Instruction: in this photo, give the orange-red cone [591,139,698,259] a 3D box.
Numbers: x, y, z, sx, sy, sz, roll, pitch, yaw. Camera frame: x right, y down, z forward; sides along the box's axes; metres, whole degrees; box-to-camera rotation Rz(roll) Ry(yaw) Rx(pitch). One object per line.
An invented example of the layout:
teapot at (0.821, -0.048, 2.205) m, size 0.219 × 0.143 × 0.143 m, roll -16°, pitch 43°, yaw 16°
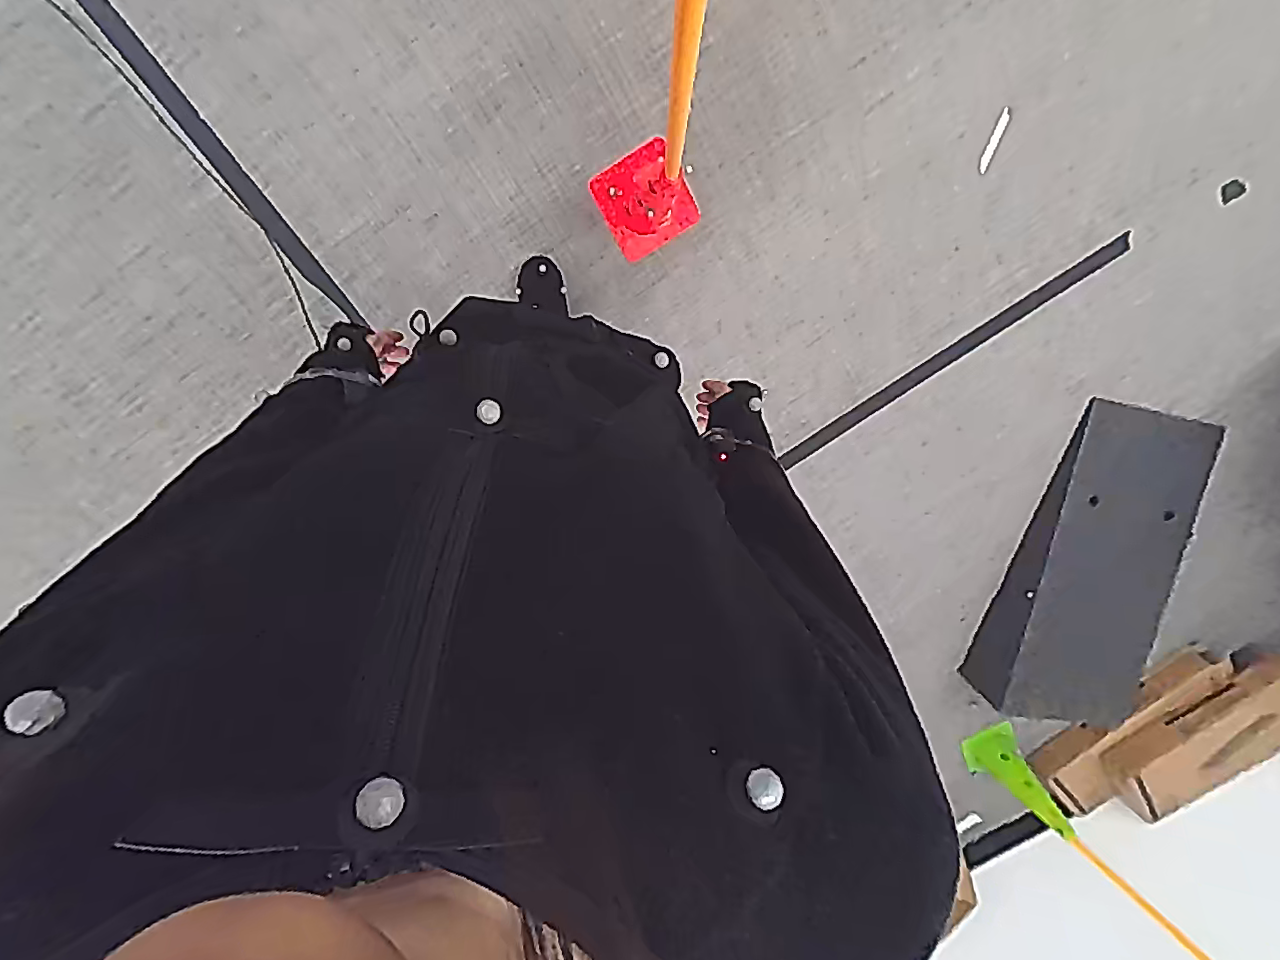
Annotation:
orange-red cone at (0.032, -0.573, 1.066) m, size 0.198 × 0.360 × 0.199 m, roll -29°, pitch 112°, yaw 5°
